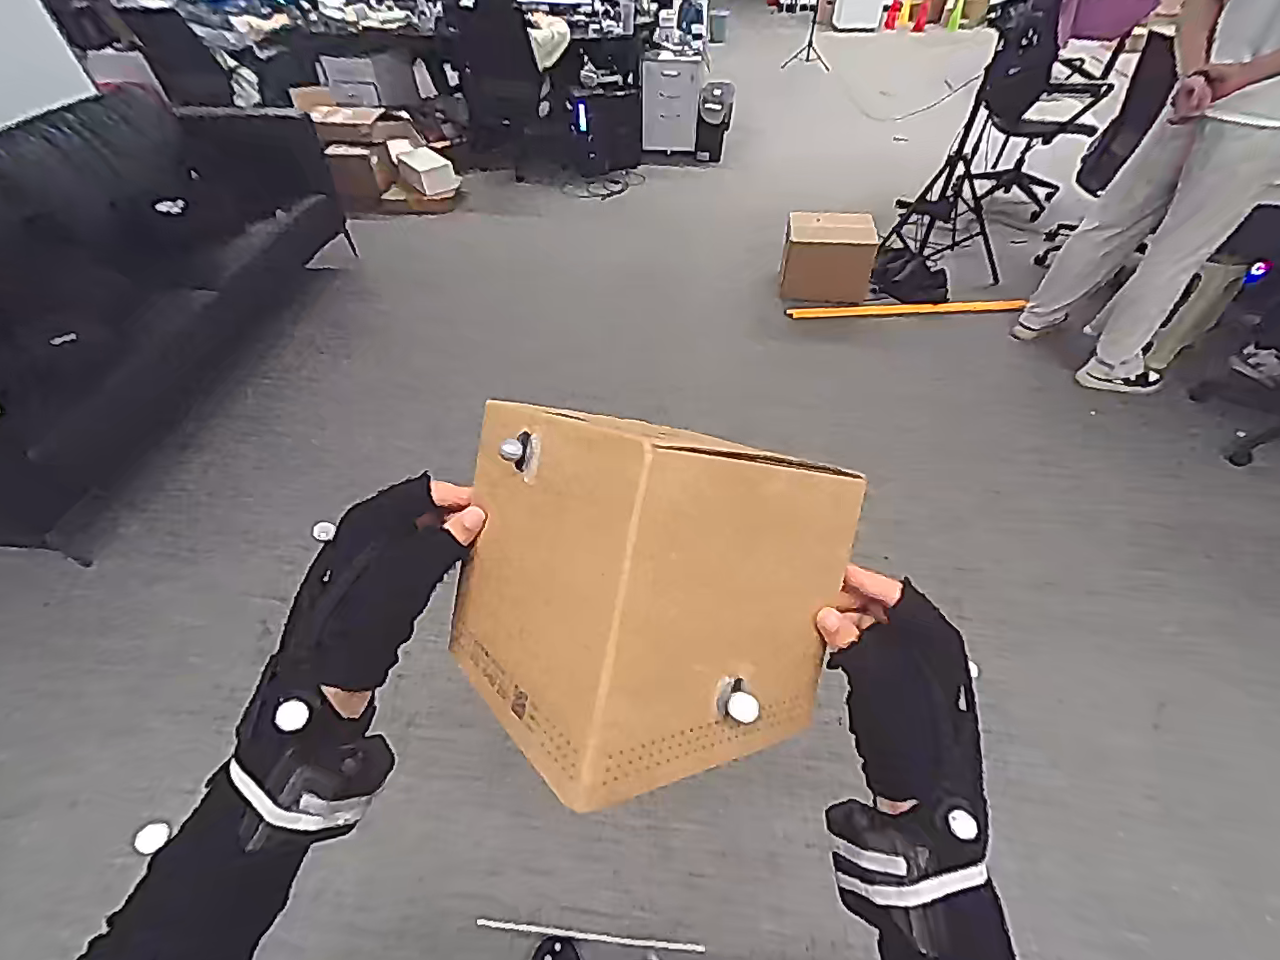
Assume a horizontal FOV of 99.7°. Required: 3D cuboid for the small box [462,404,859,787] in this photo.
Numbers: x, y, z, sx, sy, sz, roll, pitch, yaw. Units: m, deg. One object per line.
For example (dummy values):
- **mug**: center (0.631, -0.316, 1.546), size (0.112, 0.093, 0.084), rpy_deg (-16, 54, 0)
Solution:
- **small box**: center (0.006, 0.056, 0.349), size (0.179, 0.176, 0.168), rpy_deg (6, 7, -39)
